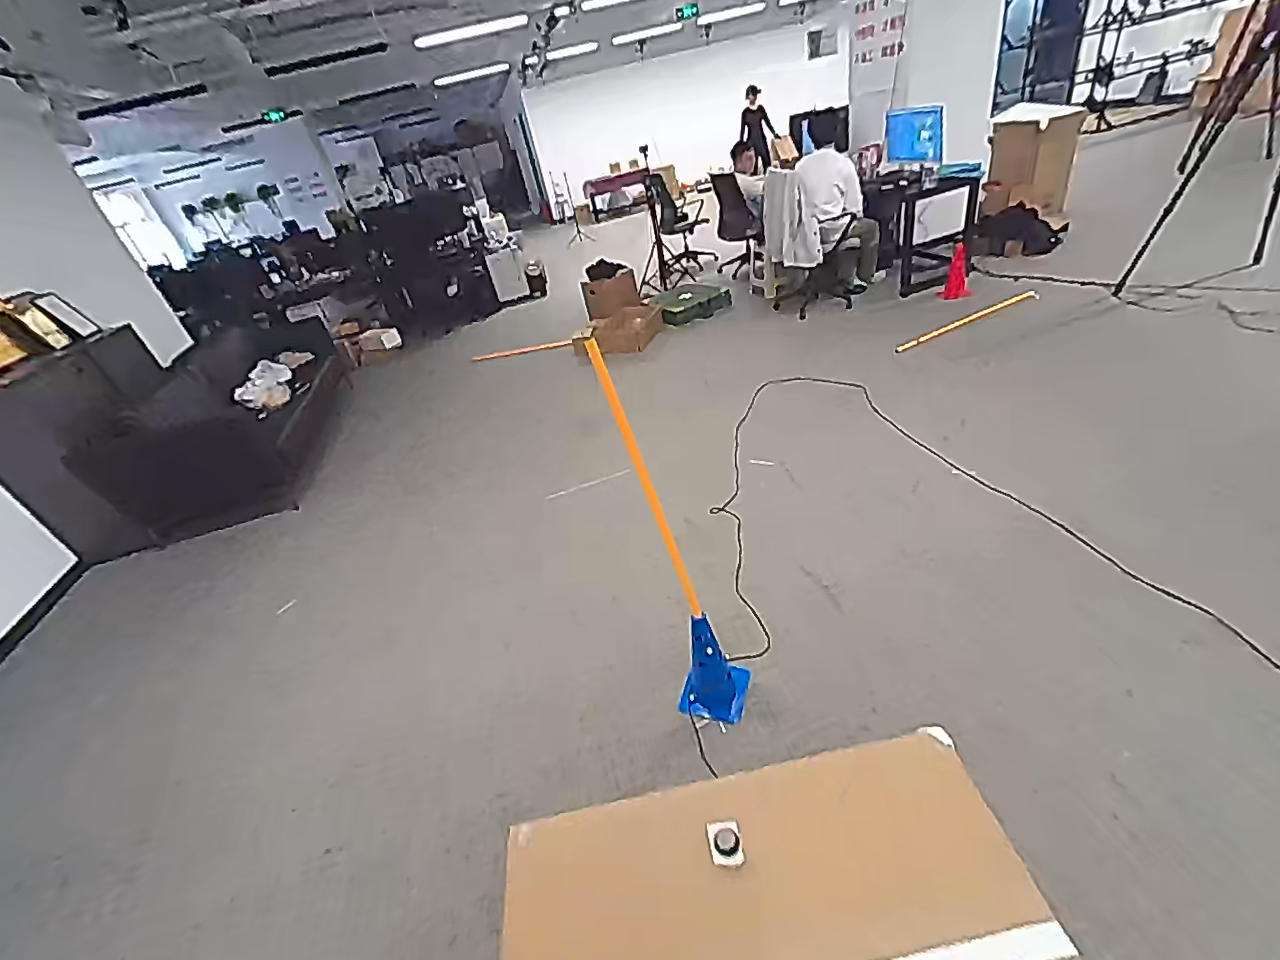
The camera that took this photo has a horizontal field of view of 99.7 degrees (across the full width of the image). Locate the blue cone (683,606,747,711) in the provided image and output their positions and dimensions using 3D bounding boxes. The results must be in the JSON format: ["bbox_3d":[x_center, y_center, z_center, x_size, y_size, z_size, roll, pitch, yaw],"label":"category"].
[{"bbox_3d":[0.204,0.519,1.642,0.192,0.380,0.193,0,37,22],"label":"blue cone"}]
